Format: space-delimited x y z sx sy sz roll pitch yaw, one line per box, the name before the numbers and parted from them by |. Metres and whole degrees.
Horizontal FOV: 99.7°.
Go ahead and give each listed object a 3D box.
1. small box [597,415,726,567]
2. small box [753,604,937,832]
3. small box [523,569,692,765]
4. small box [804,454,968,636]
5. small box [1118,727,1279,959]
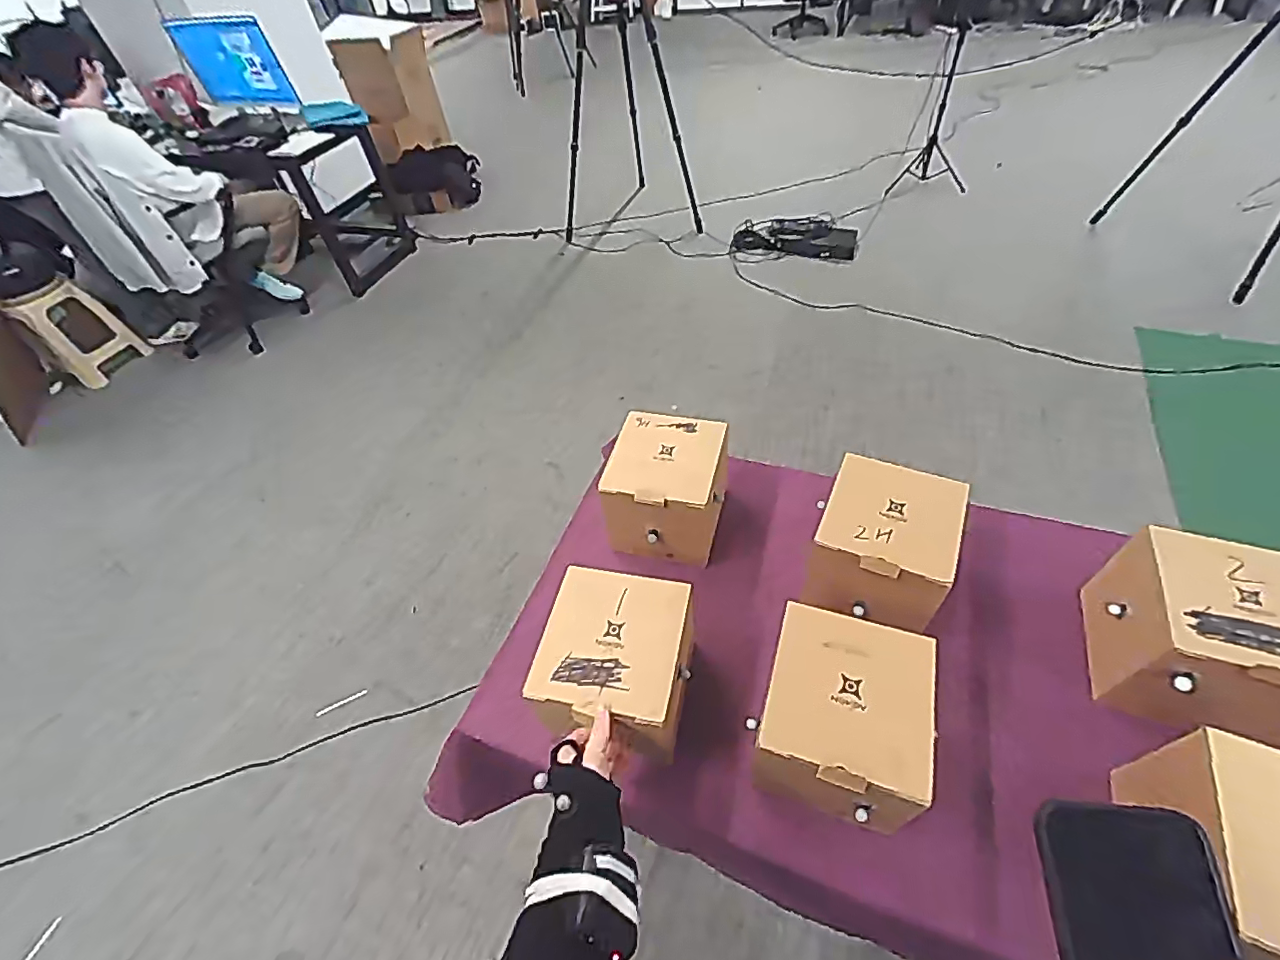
small box | 0.045 0.020 0.886 0.168 0.176 0.179 9 52 15
small box | 0.232 0.279 0.633 0.168 0.176 0.179 12 51 17
small box | -0.027 0.243 0.699 0.168 0.176 0.179 6 49 13
small box | 0.343 0.096 0.775 0.168 0.176 0.179 17 54 22
small box | 0.587 0.370 0.501 0.168 0.176 0.179 16 53 21
